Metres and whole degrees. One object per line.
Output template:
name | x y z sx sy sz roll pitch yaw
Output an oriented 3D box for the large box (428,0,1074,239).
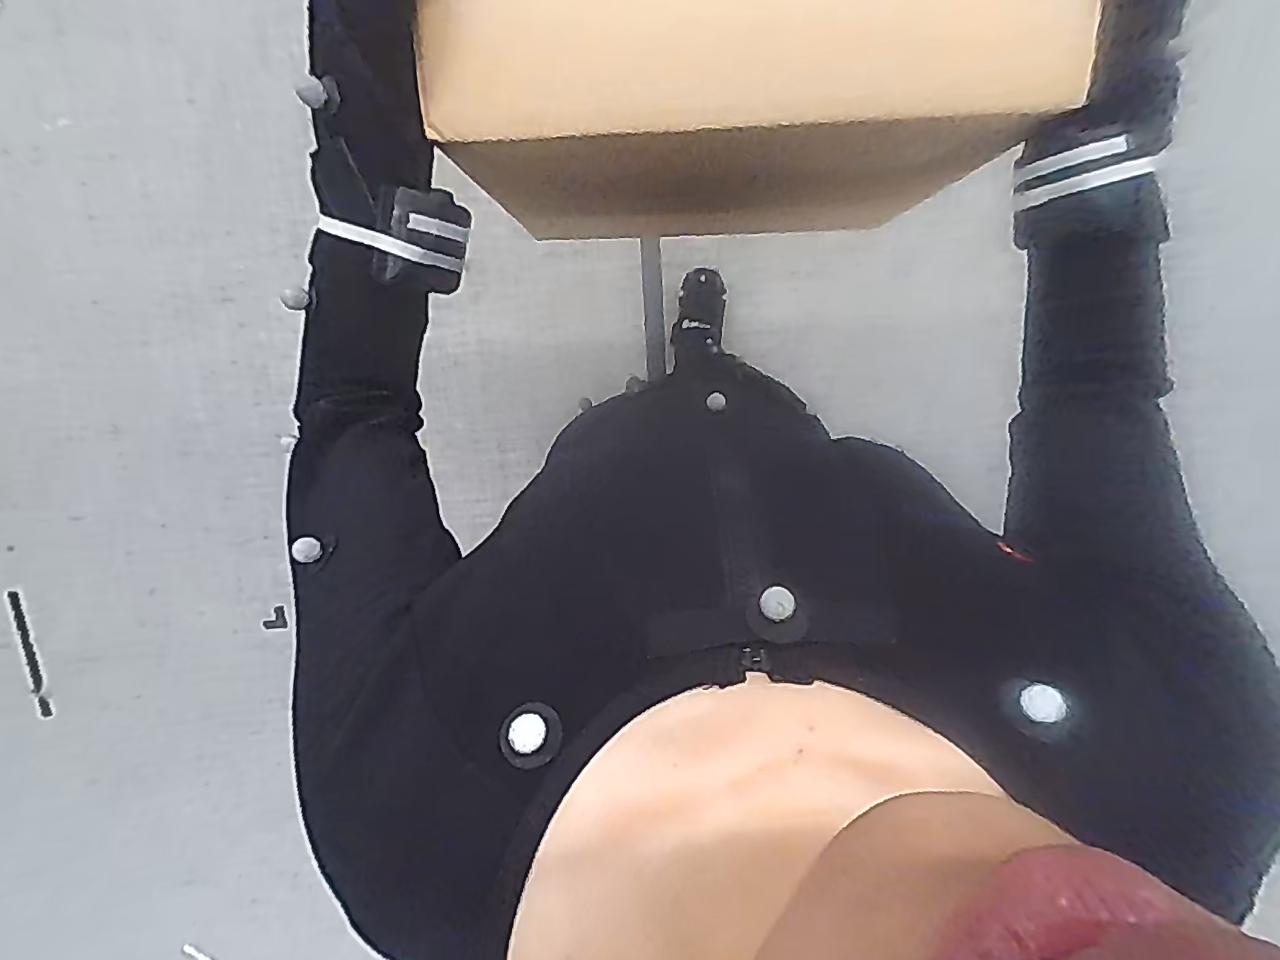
large box | 0.064 -0.414 0.460 0.408 0.320 0.320 -2 102 2
